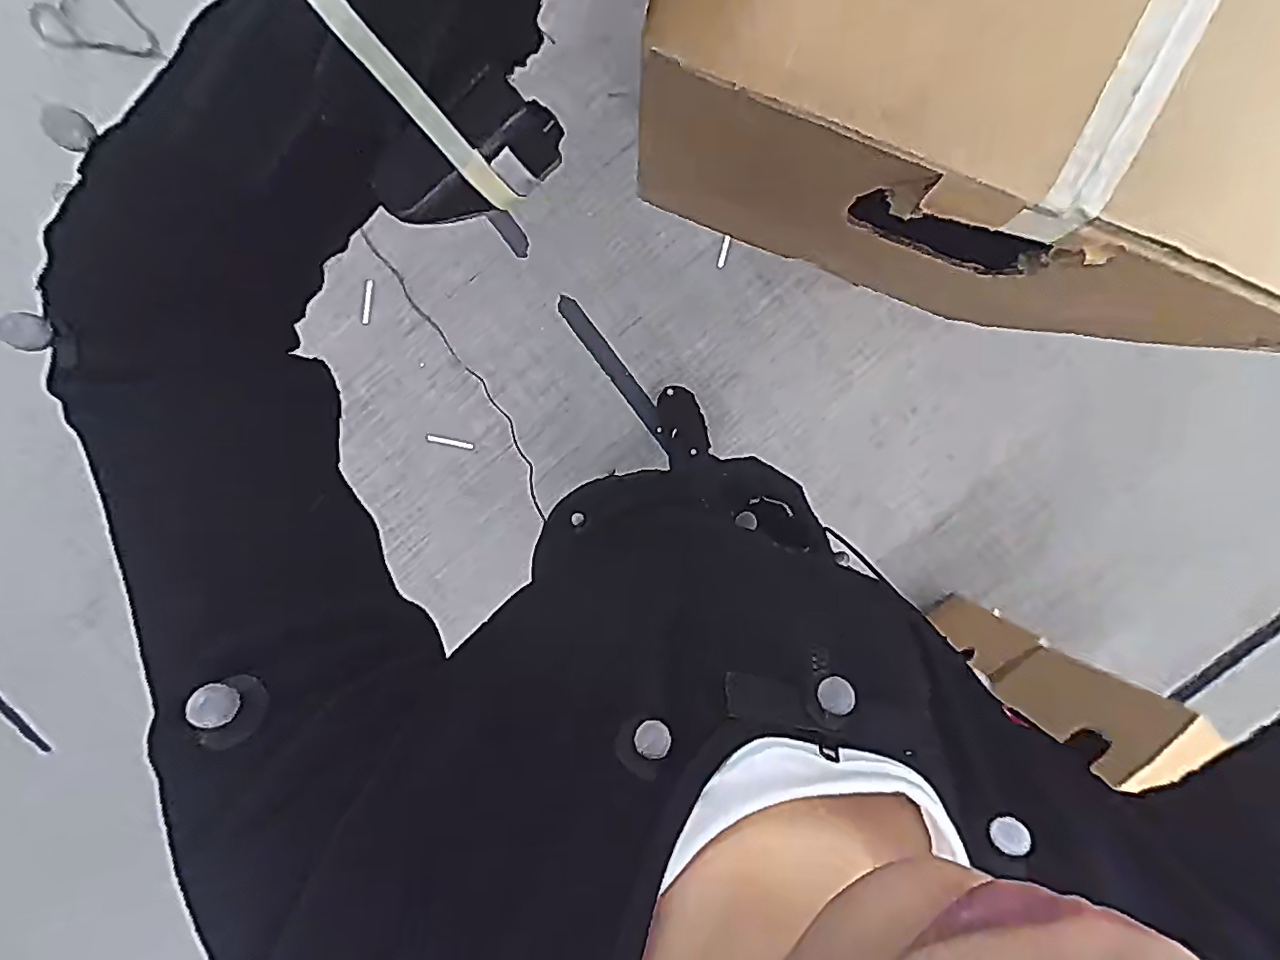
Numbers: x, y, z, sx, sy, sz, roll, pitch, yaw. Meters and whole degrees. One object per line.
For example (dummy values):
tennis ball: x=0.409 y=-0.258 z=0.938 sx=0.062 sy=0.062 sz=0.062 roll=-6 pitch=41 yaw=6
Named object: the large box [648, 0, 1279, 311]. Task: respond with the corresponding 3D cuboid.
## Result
large box: x=0.207 y=-0.334 z=0.270 sx=0.320 sy=0.320 sz=0.408 roll=16 pitch=109 yaw=-6
